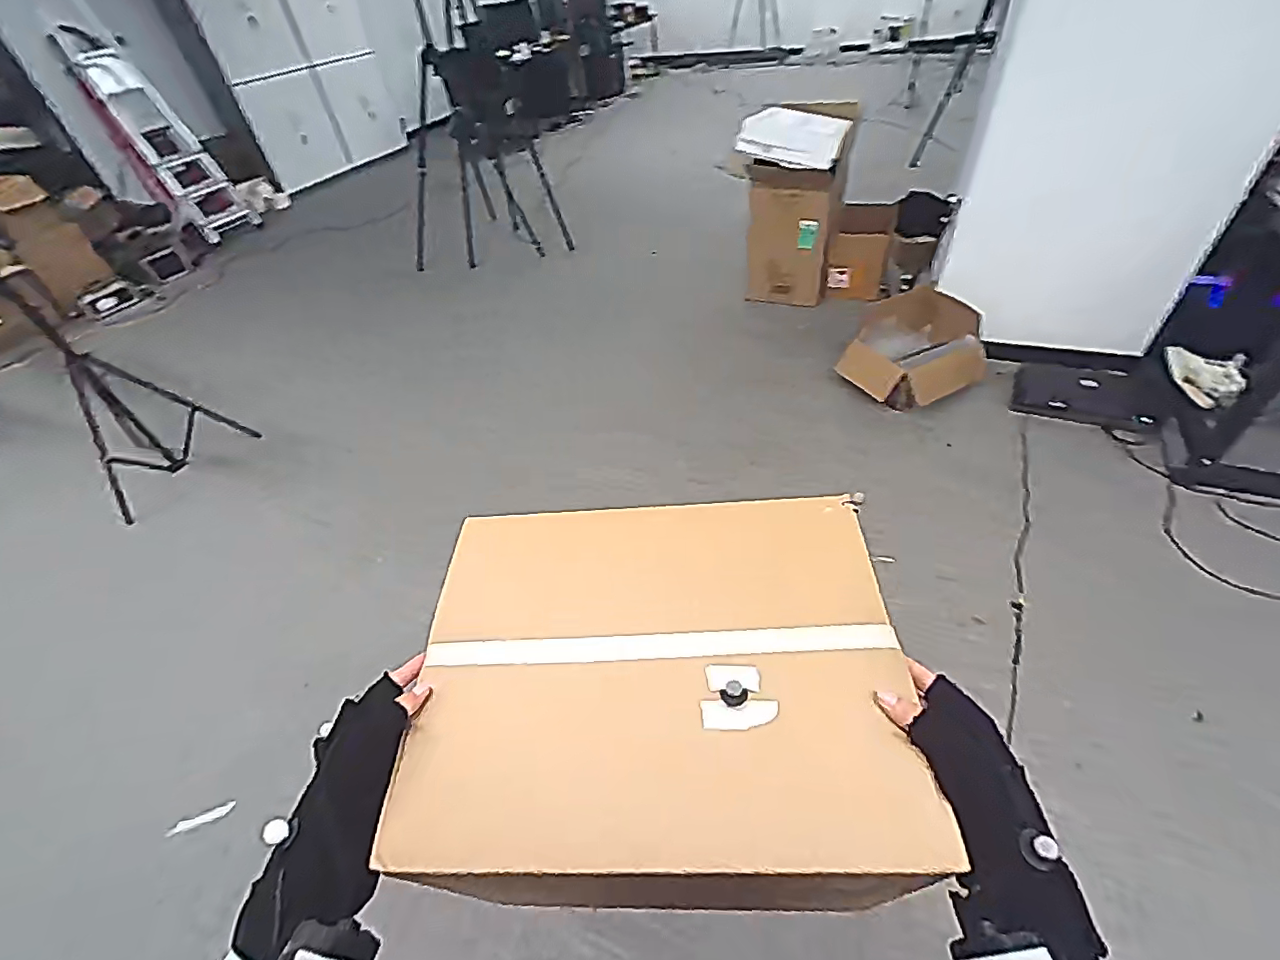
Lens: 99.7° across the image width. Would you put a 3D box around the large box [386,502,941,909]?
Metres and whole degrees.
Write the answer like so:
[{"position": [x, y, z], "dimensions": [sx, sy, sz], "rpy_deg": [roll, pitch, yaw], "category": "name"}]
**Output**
[{"position": [0.023, 0.250, 0.587], "dimensions": [0.408, 0.320, 0.320], "rpy_deg": [-4, 48, 4], "category": "large box"}]
